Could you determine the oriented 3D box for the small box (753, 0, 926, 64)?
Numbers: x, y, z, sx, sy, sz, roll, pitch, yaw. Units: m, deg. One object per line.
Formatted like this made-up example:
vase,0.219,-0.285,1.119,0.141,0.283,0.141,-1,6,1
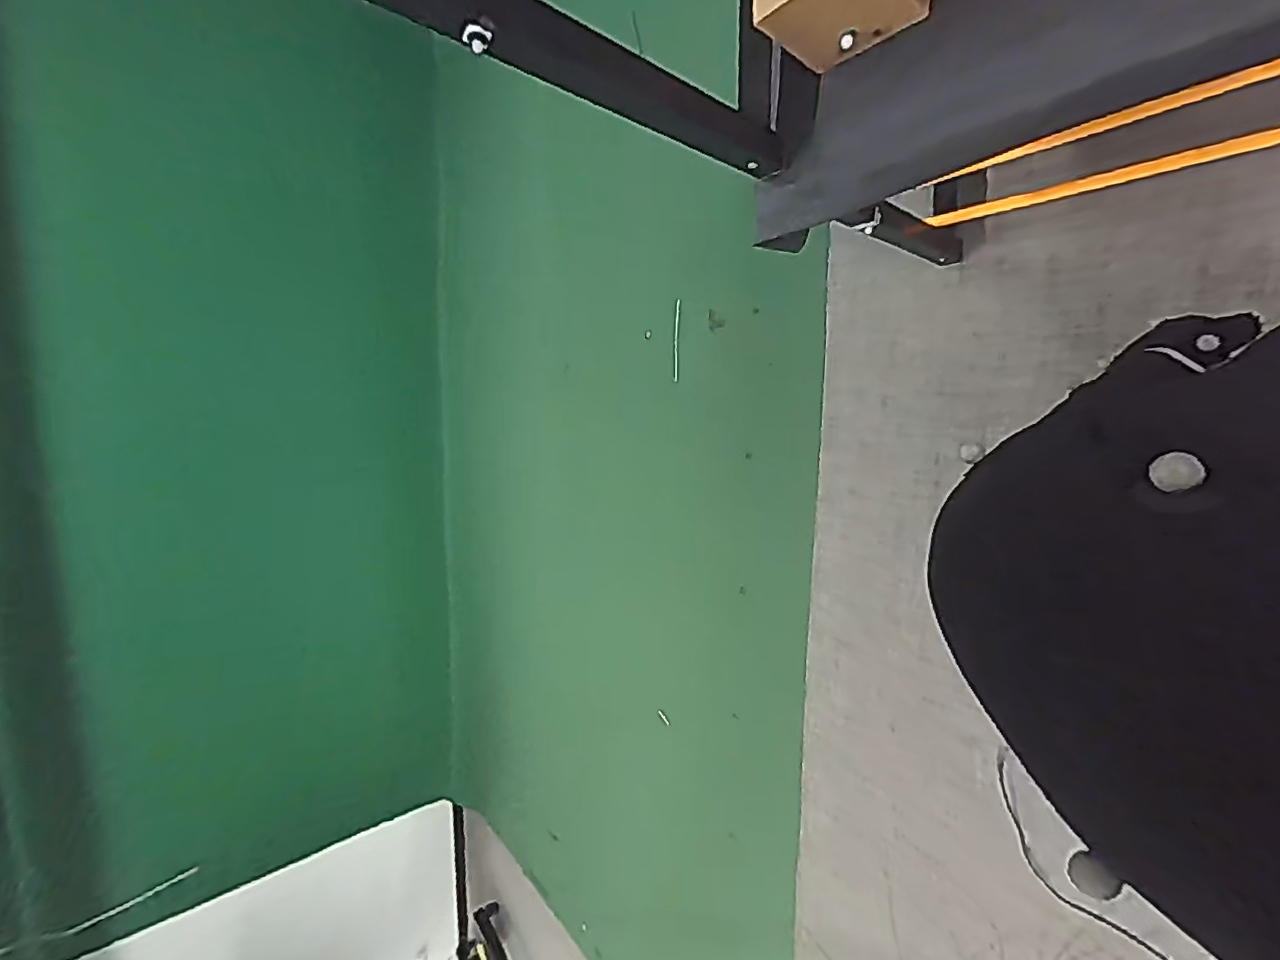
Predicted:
small box,0.270,-0.712,0.717,0.168,0.176,0.179,8,100,49
